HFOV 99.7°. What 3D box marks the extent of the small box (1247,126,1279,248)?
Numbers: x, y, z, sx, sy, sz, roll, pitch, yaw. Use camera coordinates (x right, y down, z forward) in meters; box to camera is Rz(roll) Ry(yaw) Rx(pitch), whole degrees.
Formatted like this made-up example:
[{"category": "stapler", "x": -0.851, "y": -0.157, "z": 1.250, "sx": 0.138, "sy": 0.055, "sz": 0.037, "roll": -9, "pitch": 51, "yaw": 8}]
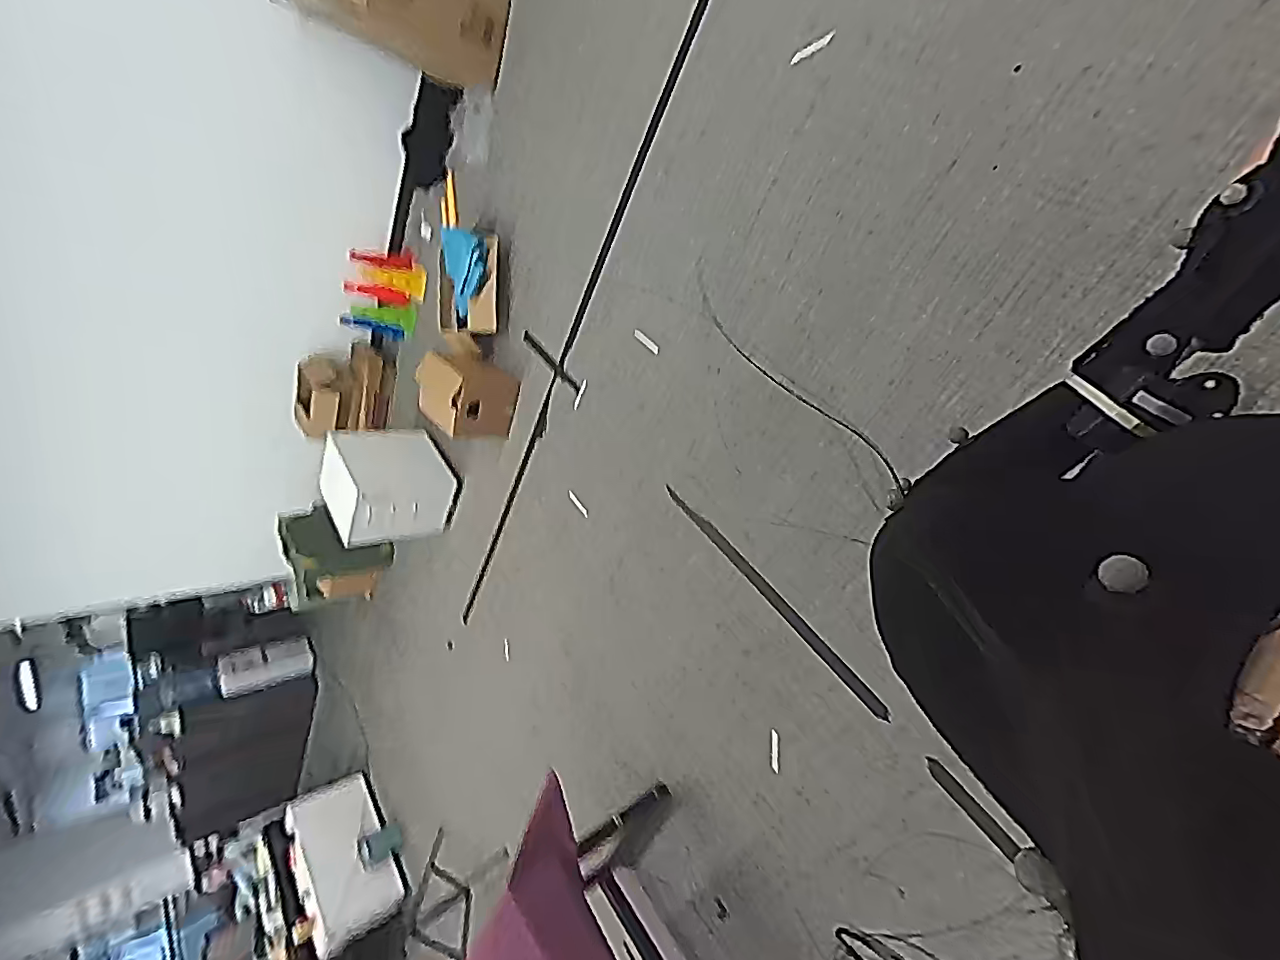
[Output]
[{"category": "small box", "x": 0.532, "y": -0.247, "z": 0.322, "sx": 0.168, "sy": 0.176, "sz": 0.179, "roll": 21, "pitch": 86, "yaw": 28}]
